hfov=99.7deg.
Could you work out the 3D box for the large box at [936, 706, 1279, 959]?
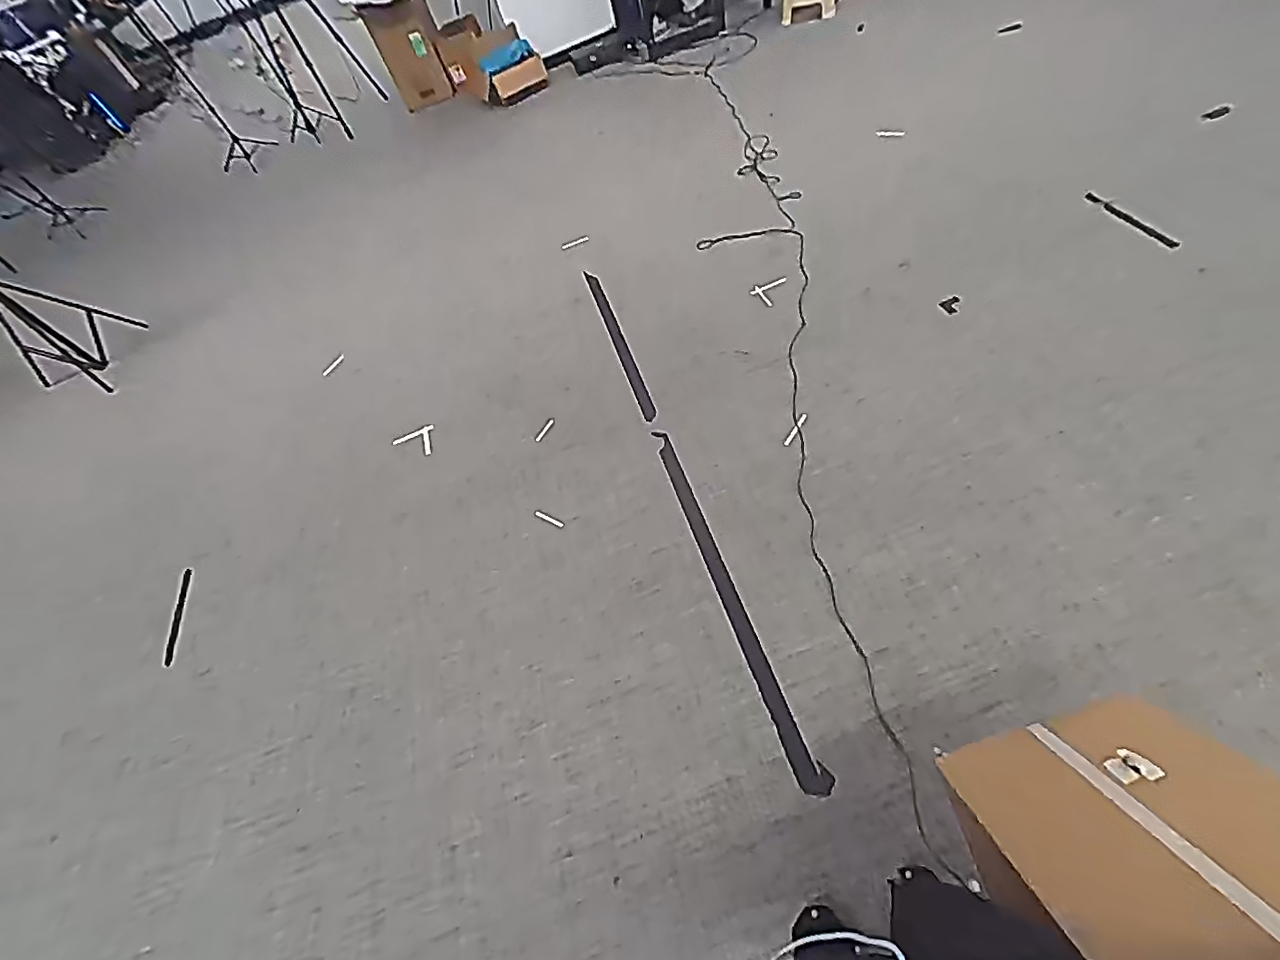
[{"bbox_3d":[0.645,0.548,0.642,0.320,0.408,0.320,-21,91,6],"label":"large box"}]
